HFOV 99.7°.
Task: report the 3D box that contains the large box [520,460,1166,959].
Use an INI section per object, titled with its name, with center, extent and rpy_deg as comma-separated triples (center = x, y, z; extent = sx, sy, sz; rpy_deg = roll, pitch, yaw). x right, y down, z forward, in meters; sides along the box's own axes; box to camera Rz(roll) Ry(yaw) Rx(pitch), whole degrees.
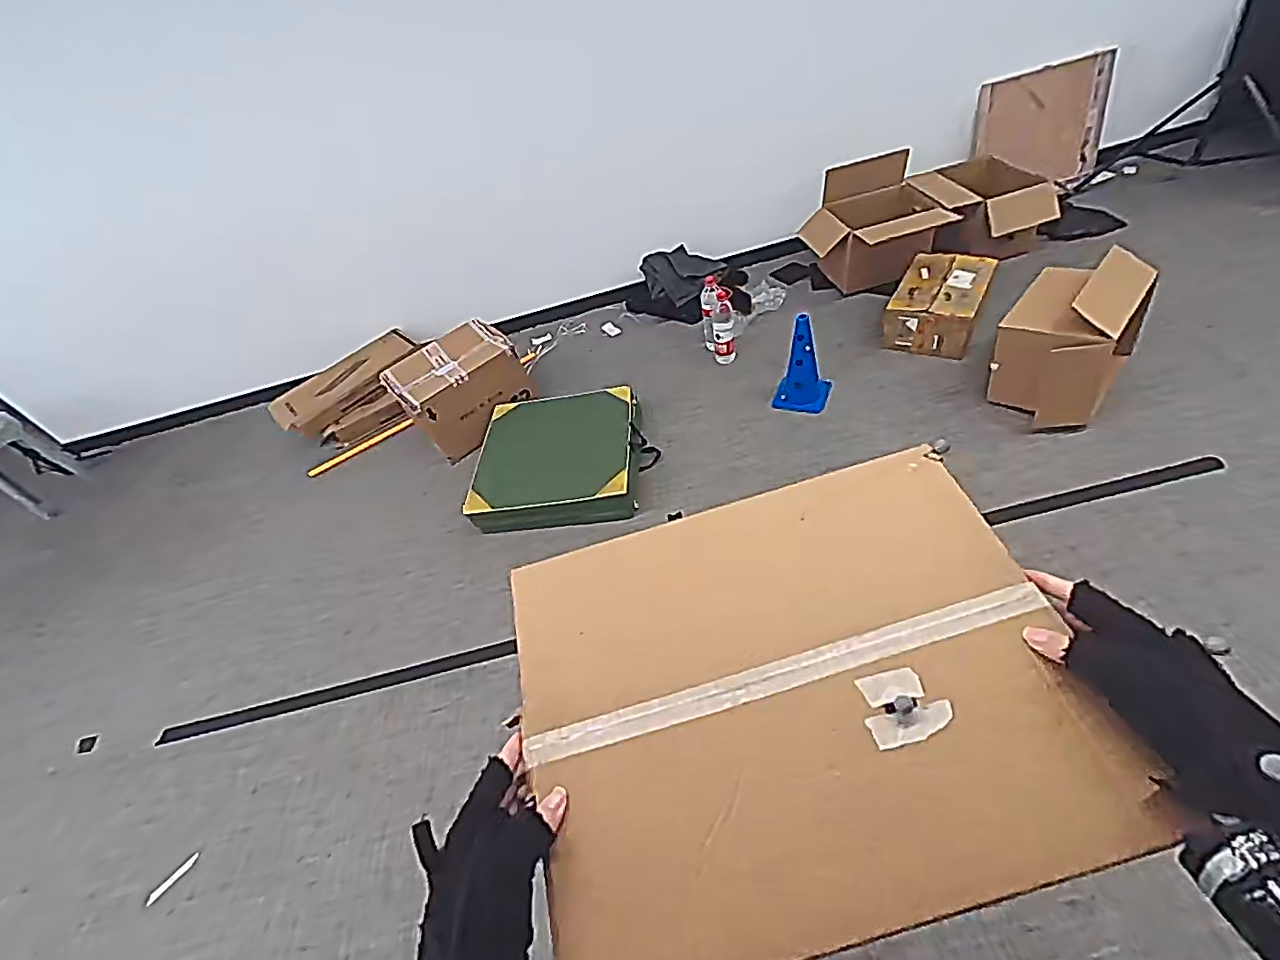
[large box]
center = 0.135, 0.241, 0.547
extent = 0.408, 0.320, 0.320
rpy_deg = -17, 55, 0
